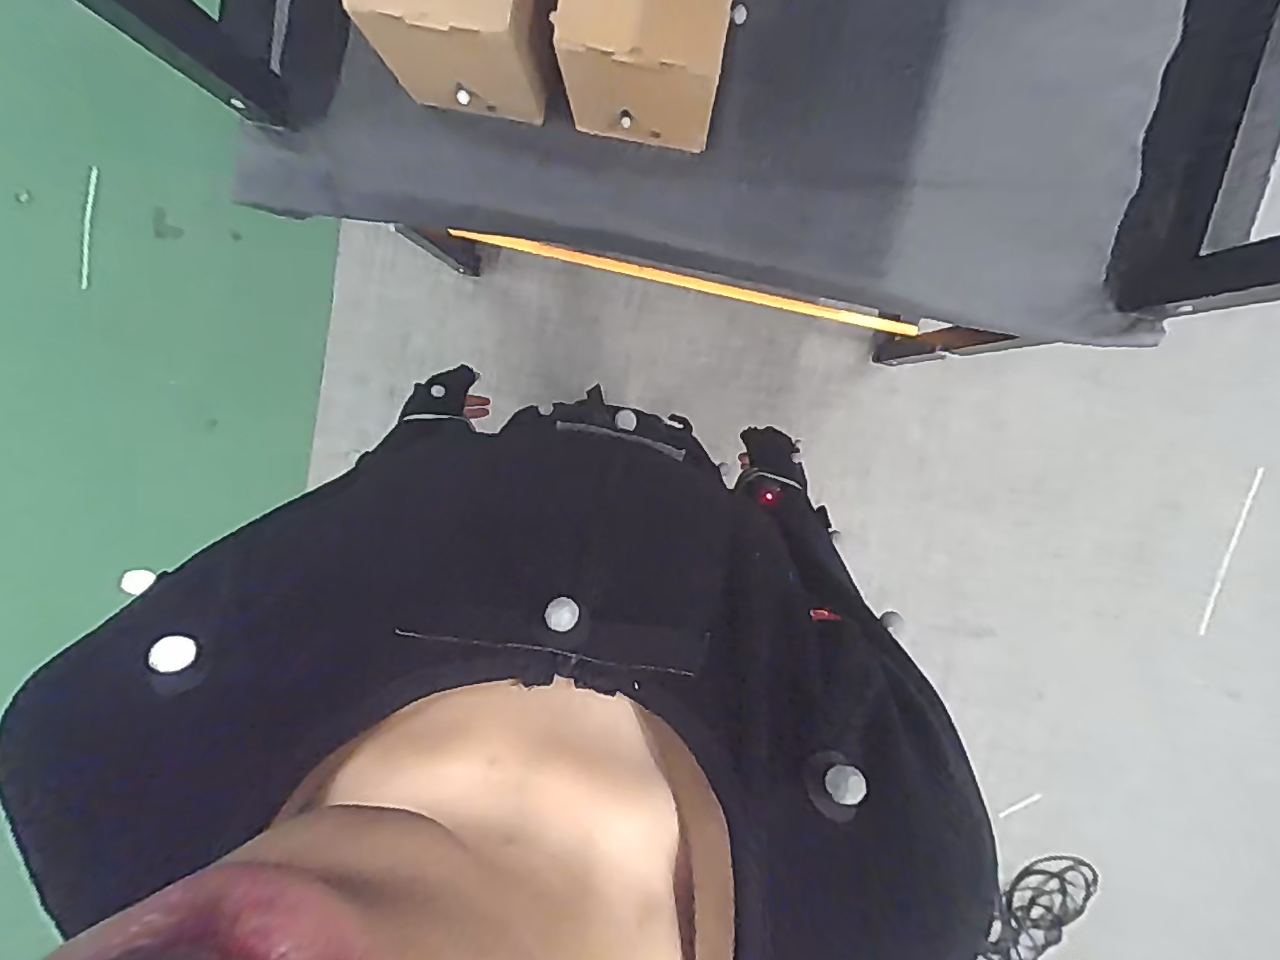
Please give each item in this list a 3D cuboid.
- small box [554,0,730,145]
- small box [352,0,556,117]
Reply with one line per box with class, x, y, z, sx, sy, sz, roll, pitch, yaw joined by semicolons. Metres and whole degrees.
small box;0.011;-0.510;0.592;0.168;0.176;0.179;10;98;0
small box;-0.190;-0.542;0.586;0.168;0.176;0.179;10;98;-1
